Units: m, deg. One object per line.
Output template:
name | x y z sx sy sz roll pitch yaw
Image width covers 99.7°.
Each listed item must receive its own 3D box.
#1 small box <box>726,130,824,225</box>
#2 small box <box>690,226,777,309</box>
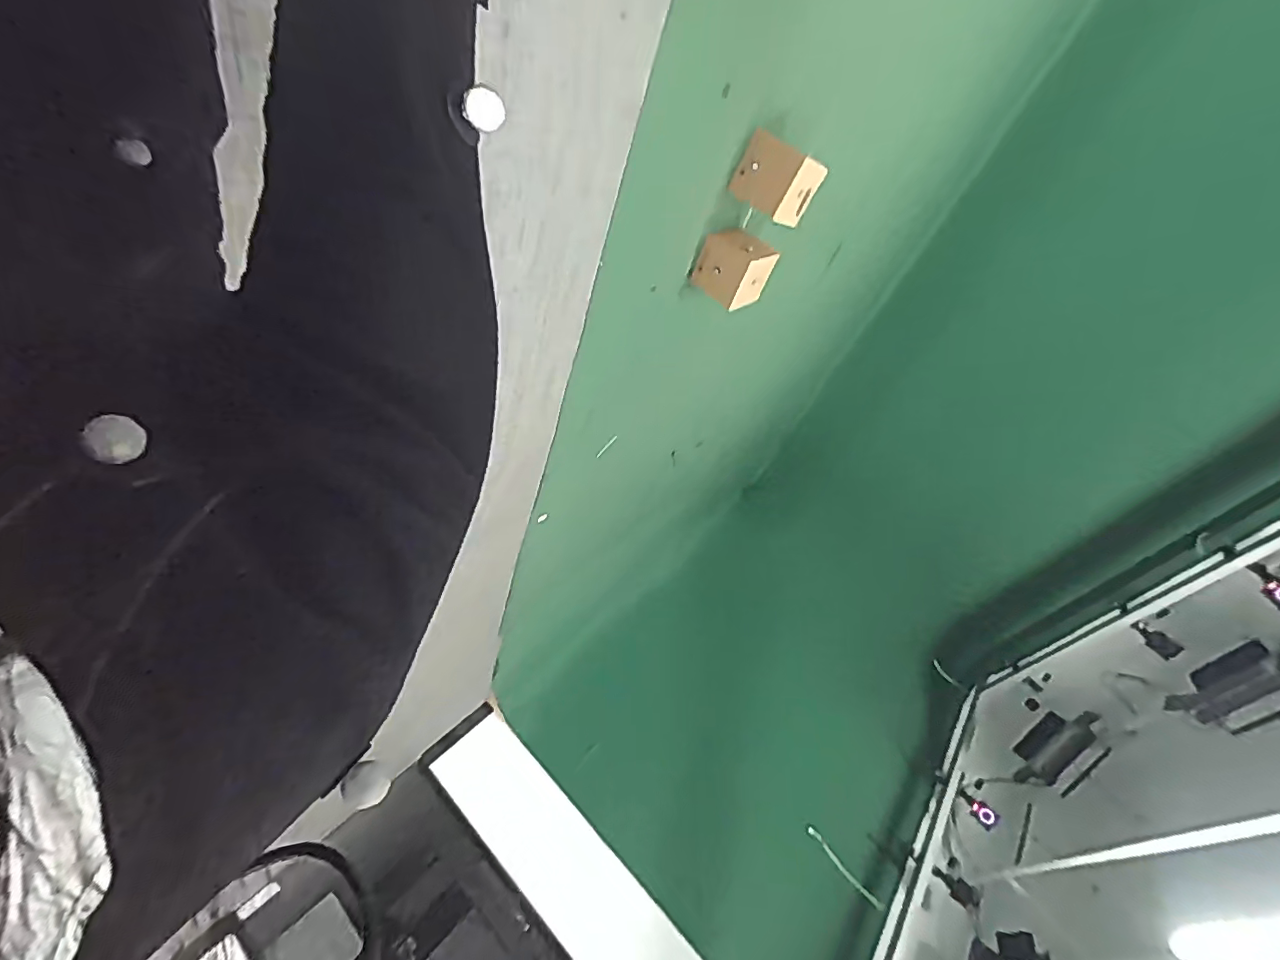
small box | 0.372 -0.836 1.501 0.179 0.176 0.168 -24 150 -51
small box | 0.281 -0.658 1.665 0.179 0.176 0.168 -34 158 -41
